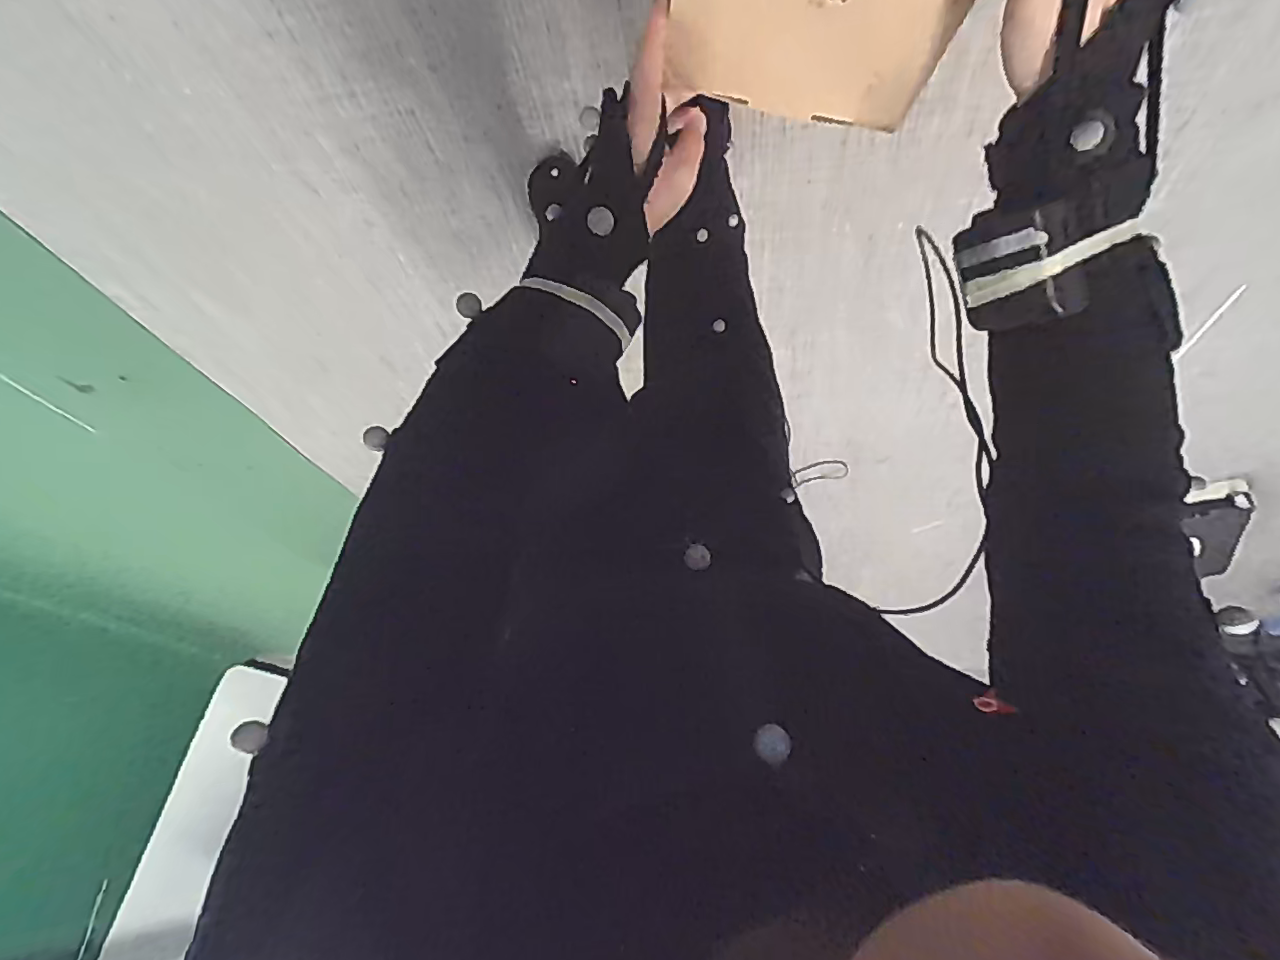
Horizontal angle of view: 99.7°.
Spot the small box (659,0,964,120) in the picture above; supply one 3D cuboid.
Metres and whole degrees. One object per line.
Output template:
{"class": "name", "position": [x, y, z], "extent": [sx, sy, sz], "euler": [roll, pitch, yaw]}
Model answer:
{"class": "small box", "position": [0.112, -0.357, 0.304], "extent": [0.168, 0.176, 0.179], "euler": [9, 162, -2]}
